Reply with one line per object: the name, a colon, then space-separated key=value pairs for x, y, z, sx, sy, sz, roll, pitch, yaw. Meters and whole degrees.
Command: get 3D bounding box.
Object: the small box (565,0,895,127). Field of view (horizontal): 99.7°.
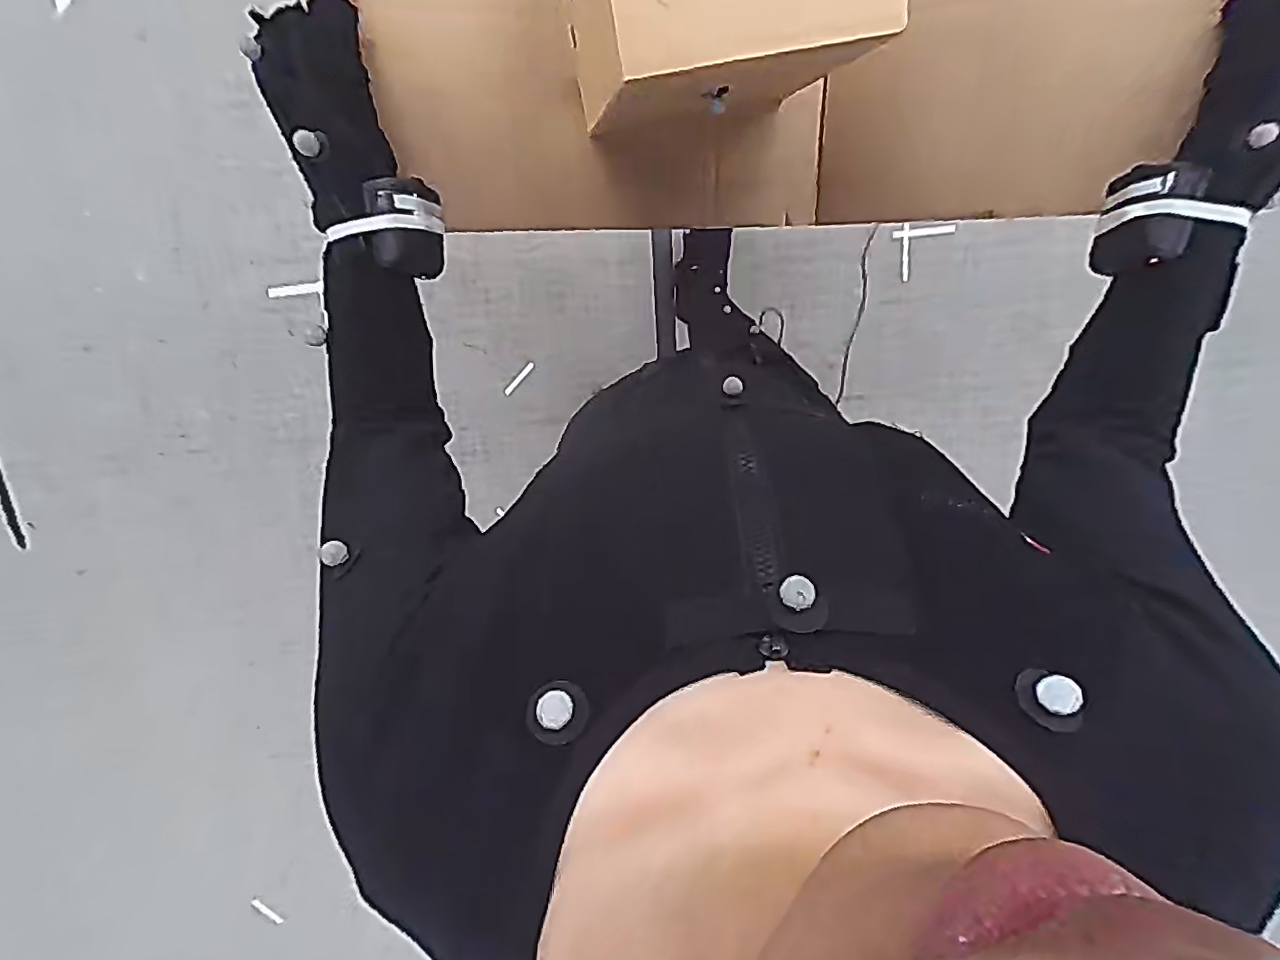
small box: x=0.043 y=-0.357 z=0.359 sx=0.179 sy=0.176 sz=0.168 roll=-14 pitch=115 yaw=-6
